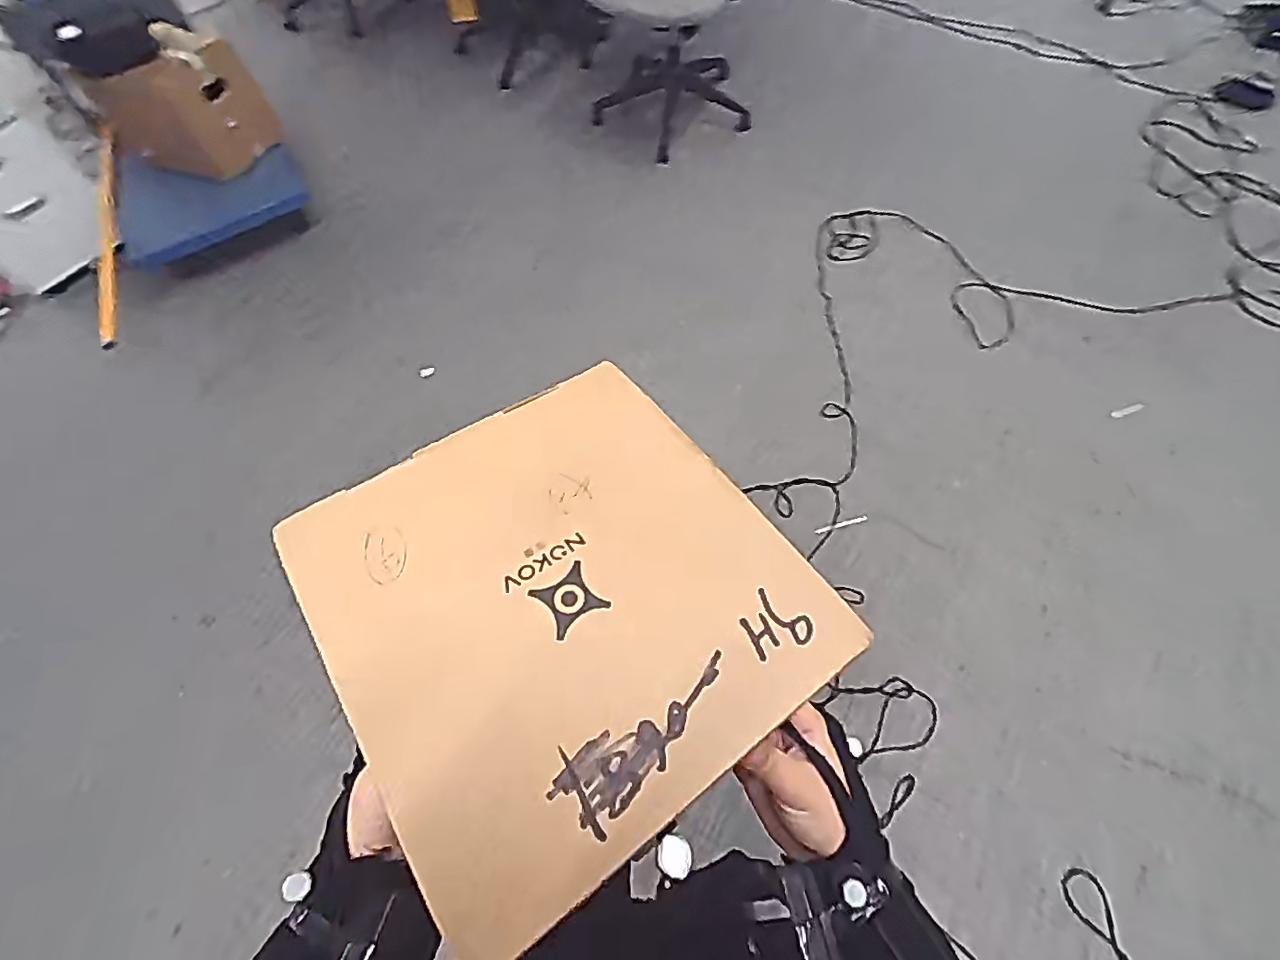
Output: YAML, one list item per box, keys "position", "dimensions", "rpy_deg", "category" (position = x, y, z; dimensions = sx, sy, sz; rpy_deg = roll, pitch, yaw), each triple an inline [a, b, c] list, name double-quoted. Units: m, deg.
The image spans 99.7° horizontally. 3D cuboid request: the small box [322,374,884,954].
- position: [-0.022, 0.085, 0.284]
  dimensions: [0.168, 0.176, 0.179]
  rpy_deg: [-31, 63, -18]
  category: "small box"
